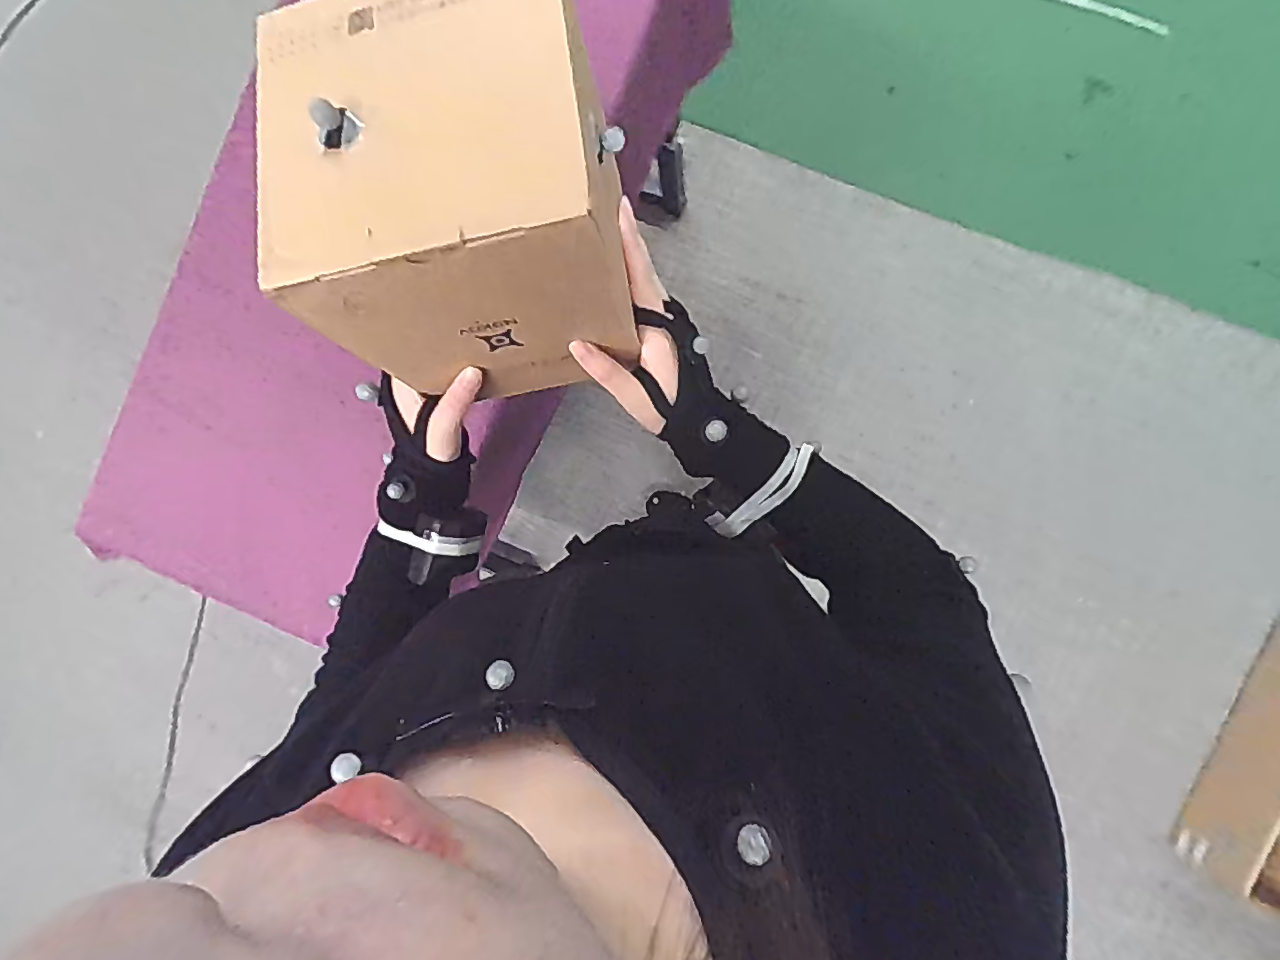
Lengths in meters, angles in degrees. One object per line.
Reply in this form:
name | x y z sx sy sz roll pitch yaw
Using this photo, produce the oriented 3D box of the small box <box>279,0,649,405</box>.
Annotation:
small box | -0.094 -0.166 0.346 0.168 0.179 0.176 -8 79 7
